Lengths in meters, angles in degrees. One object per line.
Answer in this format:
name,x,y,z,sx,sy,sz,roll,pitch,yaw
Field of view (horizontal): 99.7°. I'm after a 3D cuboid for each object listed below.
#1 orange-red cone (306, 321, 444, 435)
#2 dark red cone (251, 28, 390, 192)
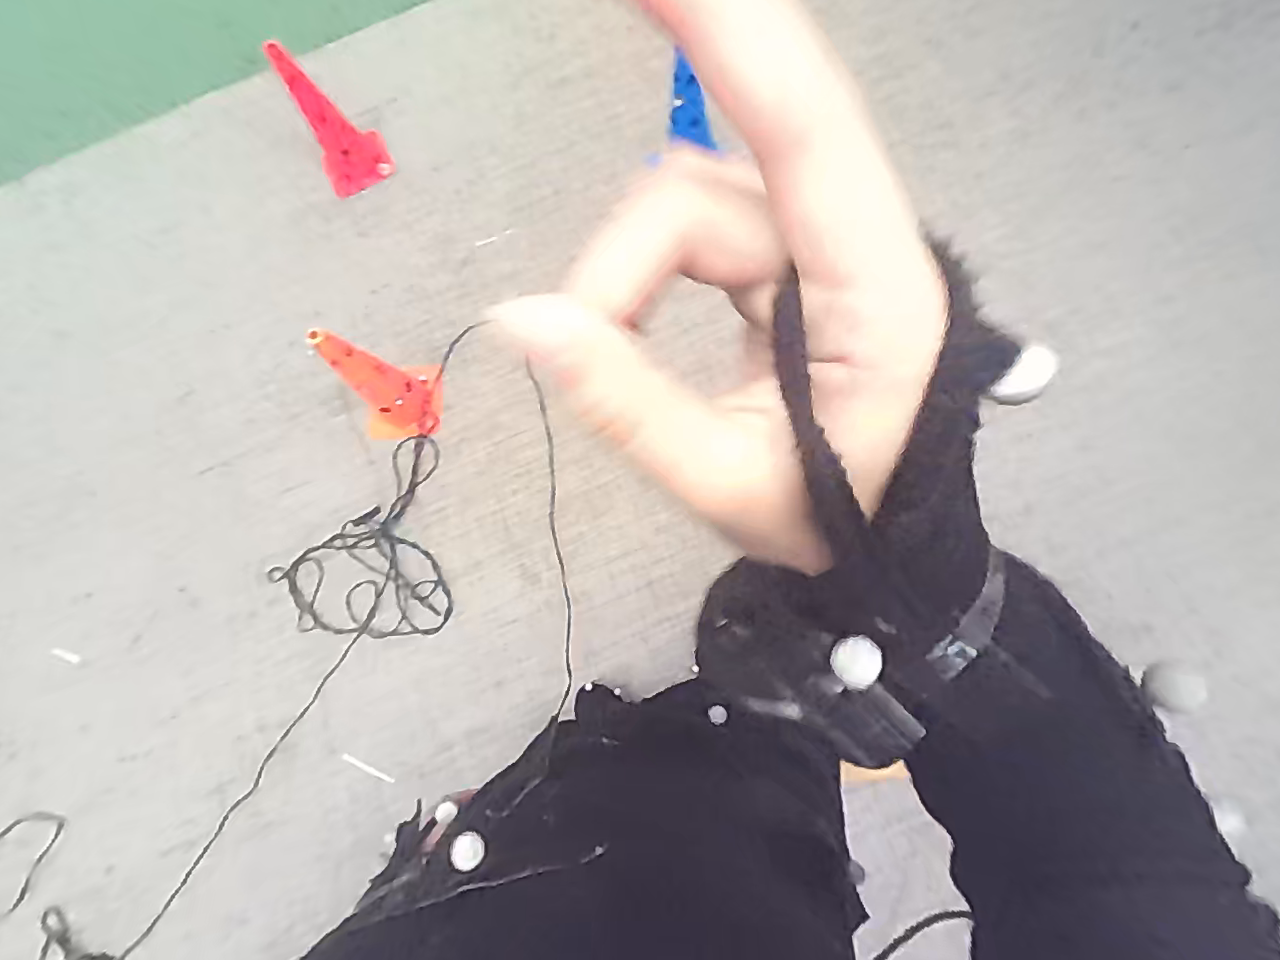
orange-red cone,-0.648,-0.262,1.278,0.199,0.360,0.198,-4,74,8
dark red cone,-0.897,-1.030,1.496,0.202,0.394,0.201,-30,70,-1
